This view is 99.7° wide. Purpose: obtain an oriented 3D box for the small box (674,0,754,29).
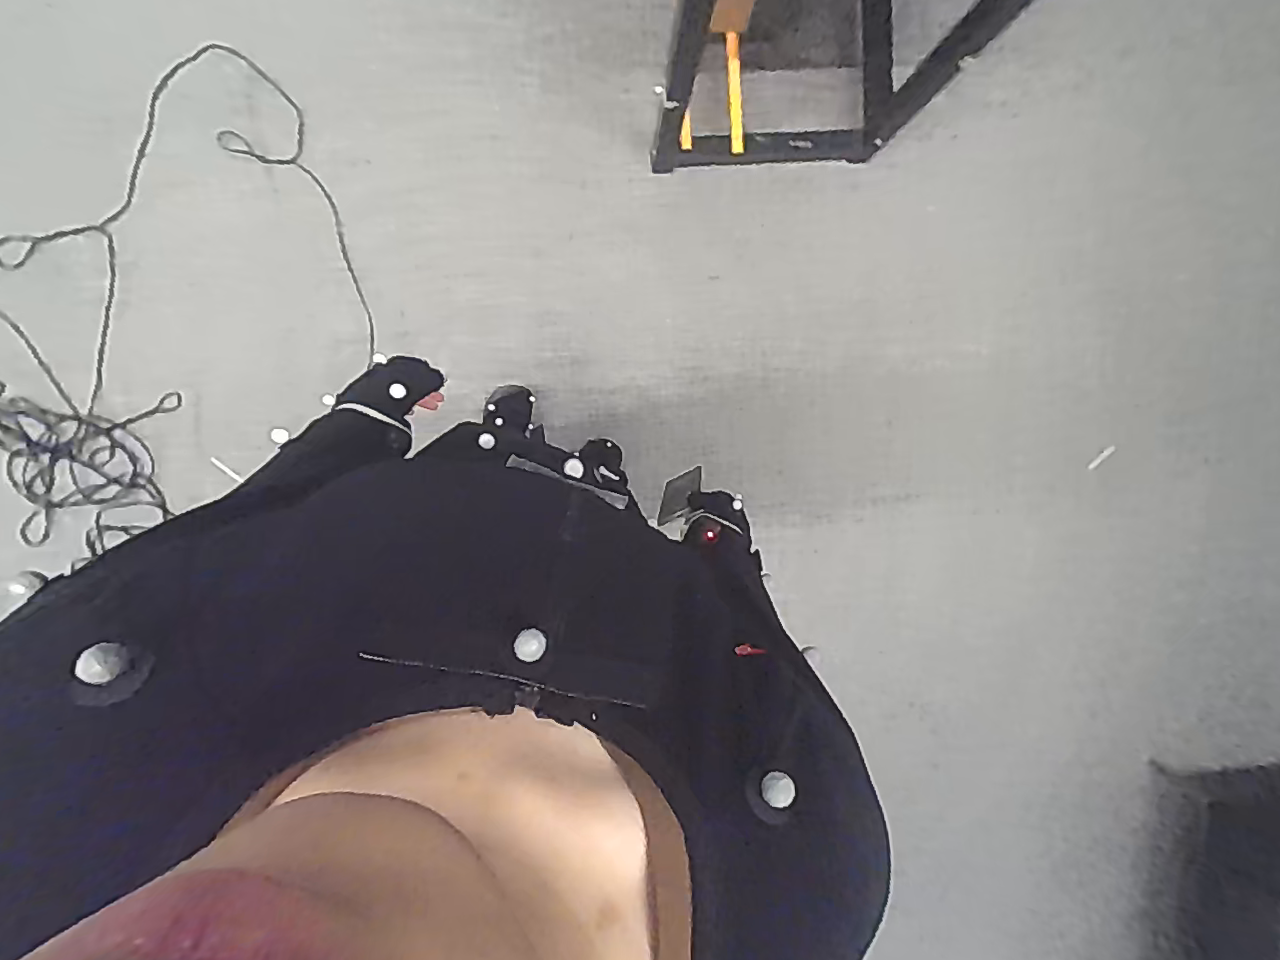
[{"bbox_3d":[0.167,-1.124,1.172,0.179,0.176,0.168,-1,97,-3],"label":"small box"}]
